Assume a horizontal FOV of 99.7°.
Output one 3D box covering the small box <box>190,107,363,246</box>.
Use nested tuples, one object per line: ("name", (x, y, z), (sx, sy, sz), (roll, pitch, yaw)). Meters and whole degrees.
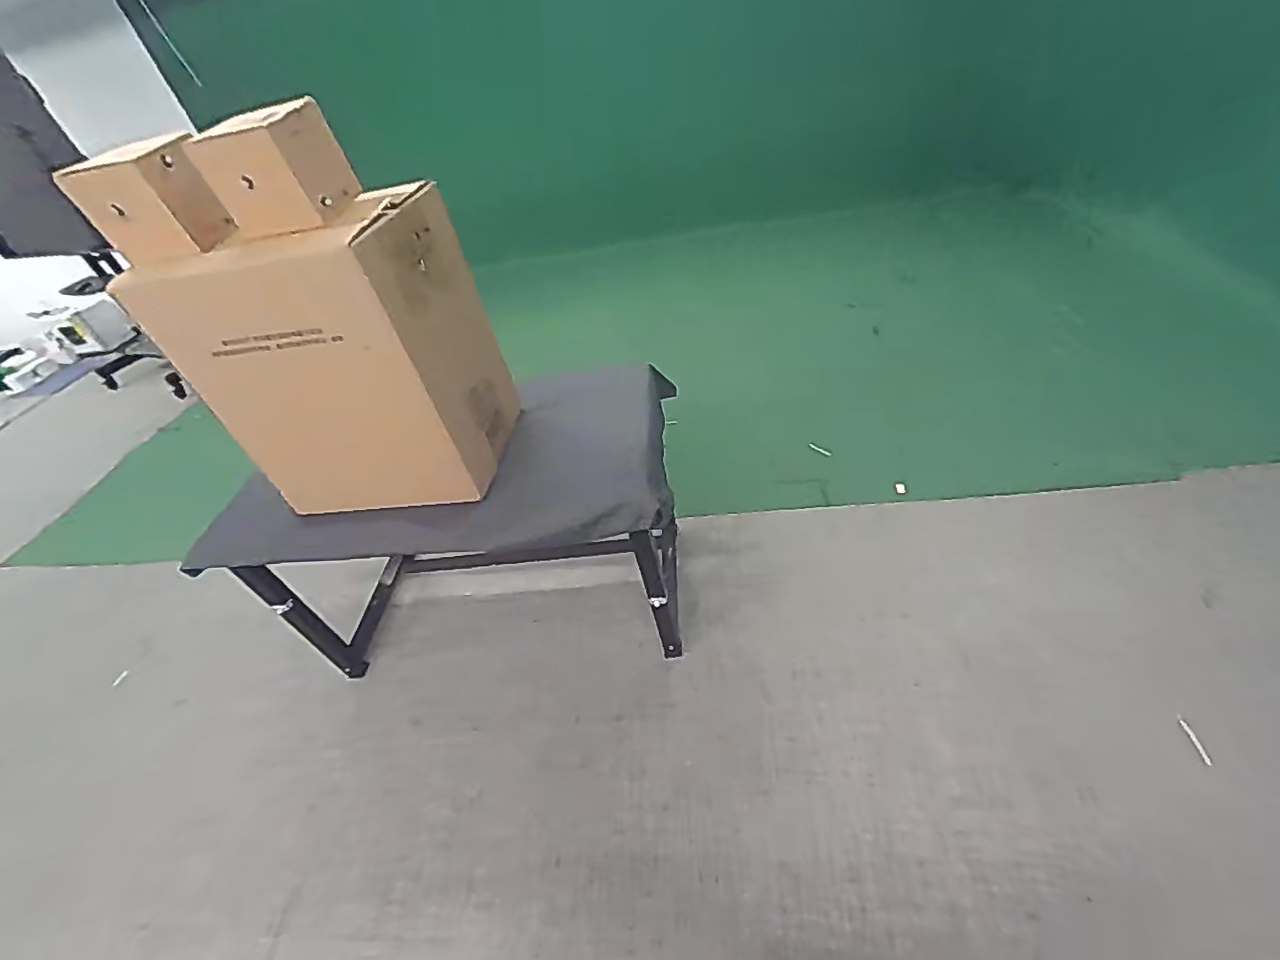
("small box", (-0.666, -0.566, 1.019), (0.179, 0.176, 0.168), (-4, 47, 13))

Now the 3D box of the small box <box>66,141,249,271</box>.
("small box", (-0.919, -0.528, 1.055), (0.179, 0.176, 0.168), (-5, 47, 12))
